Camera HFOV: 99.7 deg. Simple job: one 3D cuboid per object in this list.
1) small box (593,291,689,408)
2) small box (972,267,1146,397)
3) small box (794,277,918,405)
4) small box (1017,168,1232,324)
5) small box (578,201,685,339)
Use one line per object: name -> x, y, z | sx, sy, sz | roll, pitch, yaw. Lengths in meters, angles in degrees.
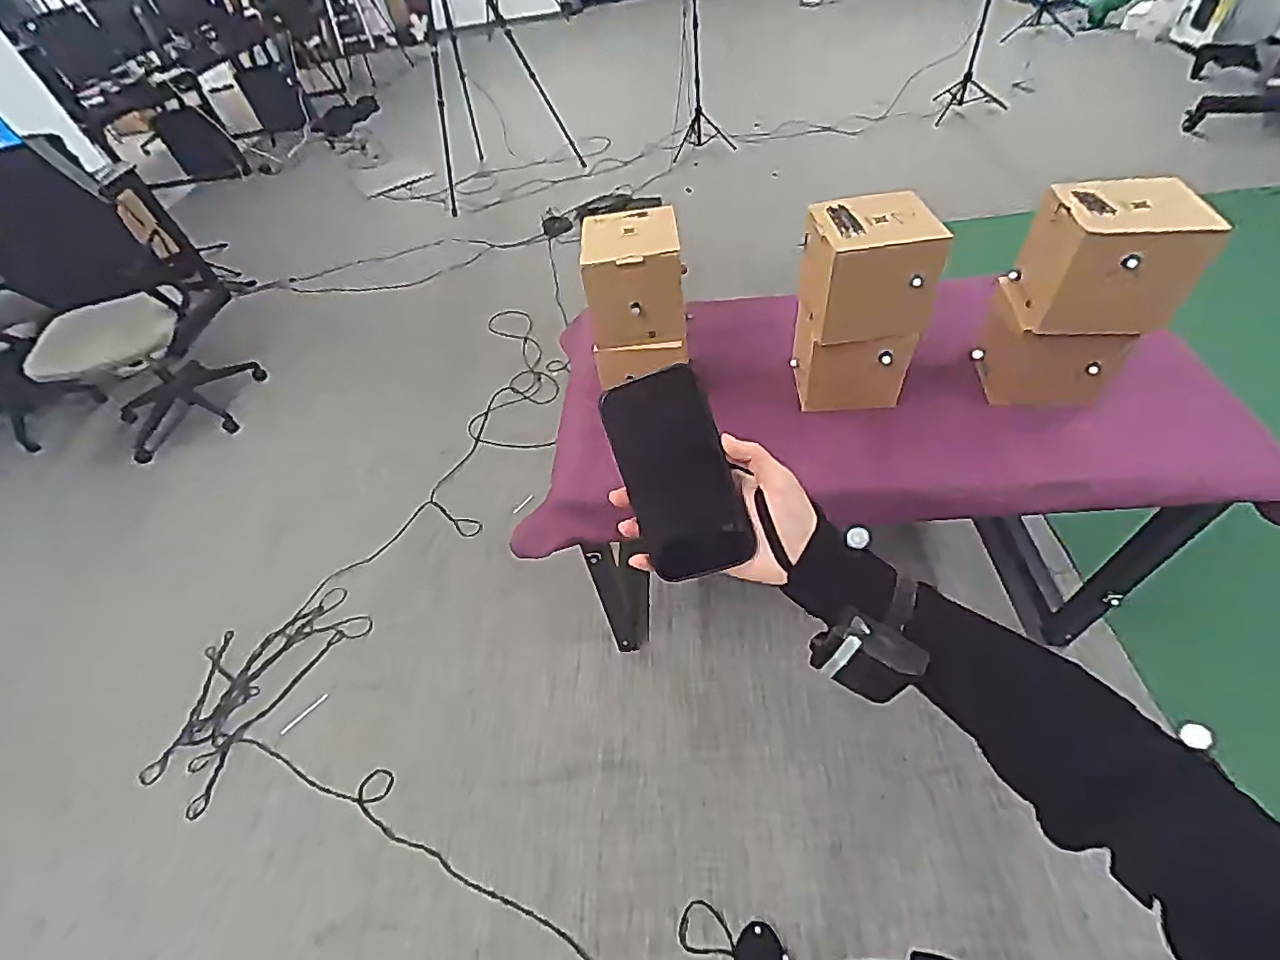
small box -> 0.011, -0.258, 1.093 | 0.168, 0.176, 0.179 | -2, 50, 8
small box -> 0.732, -0.263, 0.970 | 0.179, 0.176, 0.168 | 2, 50, 12
small box -> 0.396, -0.260, 1.025 | 0.179, 0.176, 0.168 | -3, 50, 8
small box -> 0.718, -0.356, 0.835 | 0.179, 0.176, 0.168 | 2, 50, 11
small box -> -0.010, -0.370, 0.974 | 0.168, 0.176, 0.179 | -6, 50, 5
